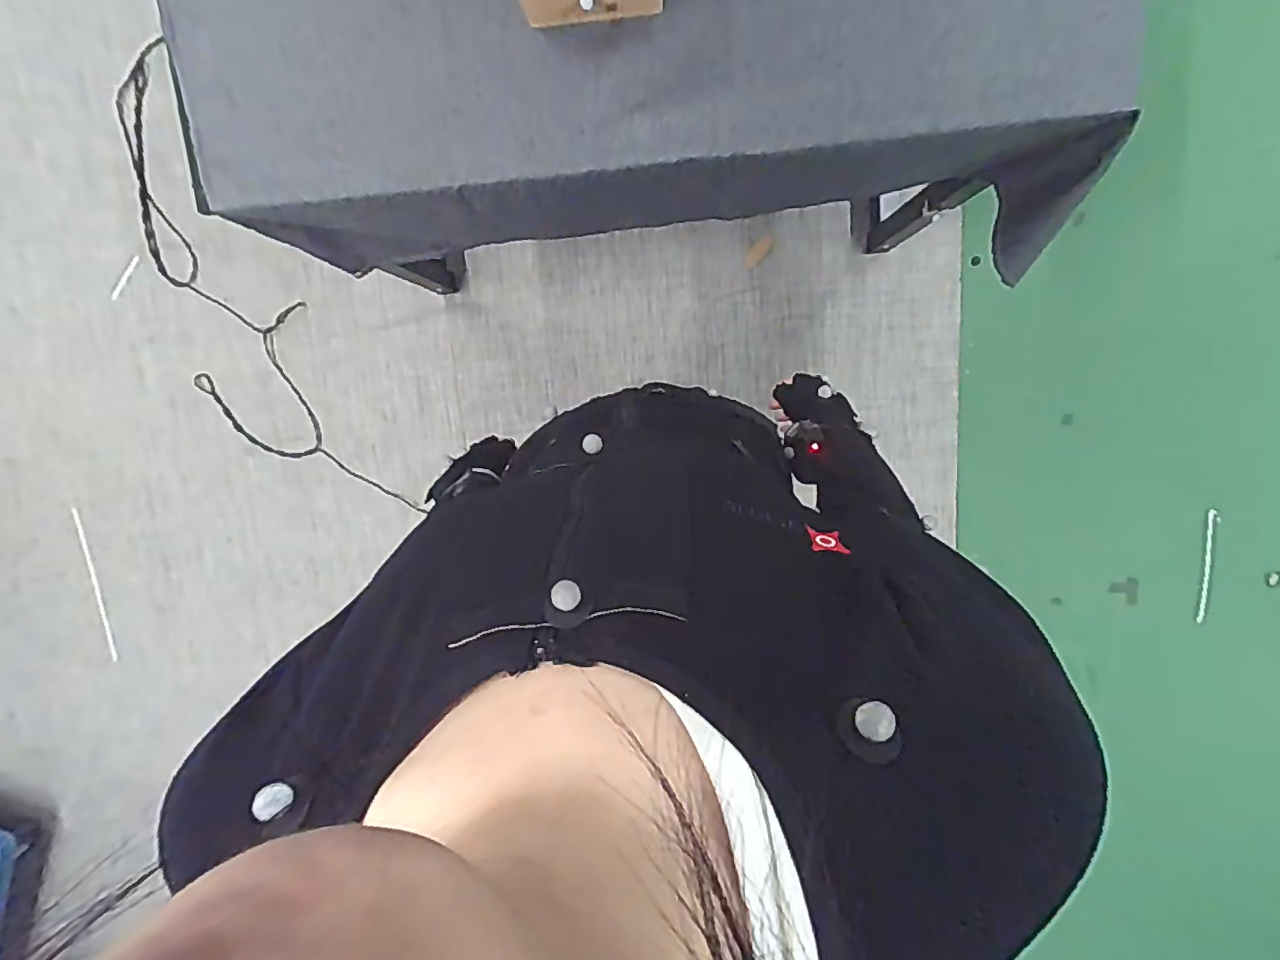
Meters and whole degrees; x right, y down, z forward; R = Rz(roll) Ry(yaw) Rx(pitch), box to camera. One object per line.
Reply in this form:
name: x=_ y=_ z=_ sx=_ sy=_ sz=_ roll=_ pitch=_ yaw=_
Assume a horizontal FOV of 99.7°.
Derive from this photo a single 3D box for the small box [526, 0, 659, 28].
small box: x=-0.065 y=-0.637 z=0.575 sx=0.168 sy=0.176 sz=0.179 roll=-3 pitch=99 yaw=3
